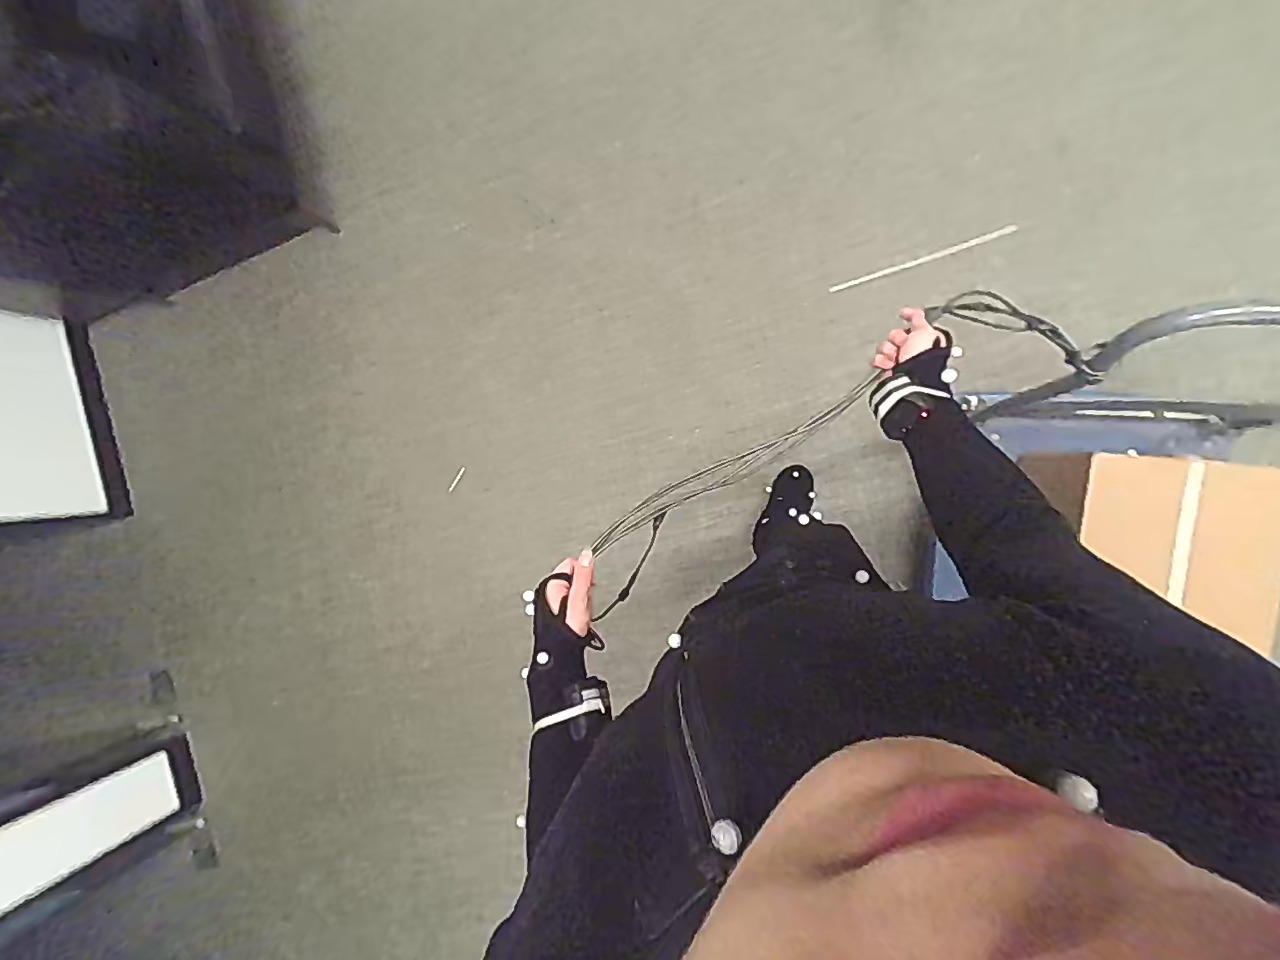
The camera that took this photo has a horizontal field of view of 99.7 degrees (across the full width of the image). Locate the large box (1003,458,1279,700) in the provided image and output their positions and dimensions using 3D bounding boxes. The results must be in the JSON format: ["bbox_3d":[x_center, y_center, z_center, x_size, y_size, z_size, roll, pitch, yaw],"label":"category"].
[{"bbox_3d":[1.002,0.166,1.110,0.320,0.320,0.408,7,95,14],"label":"large box"}]
